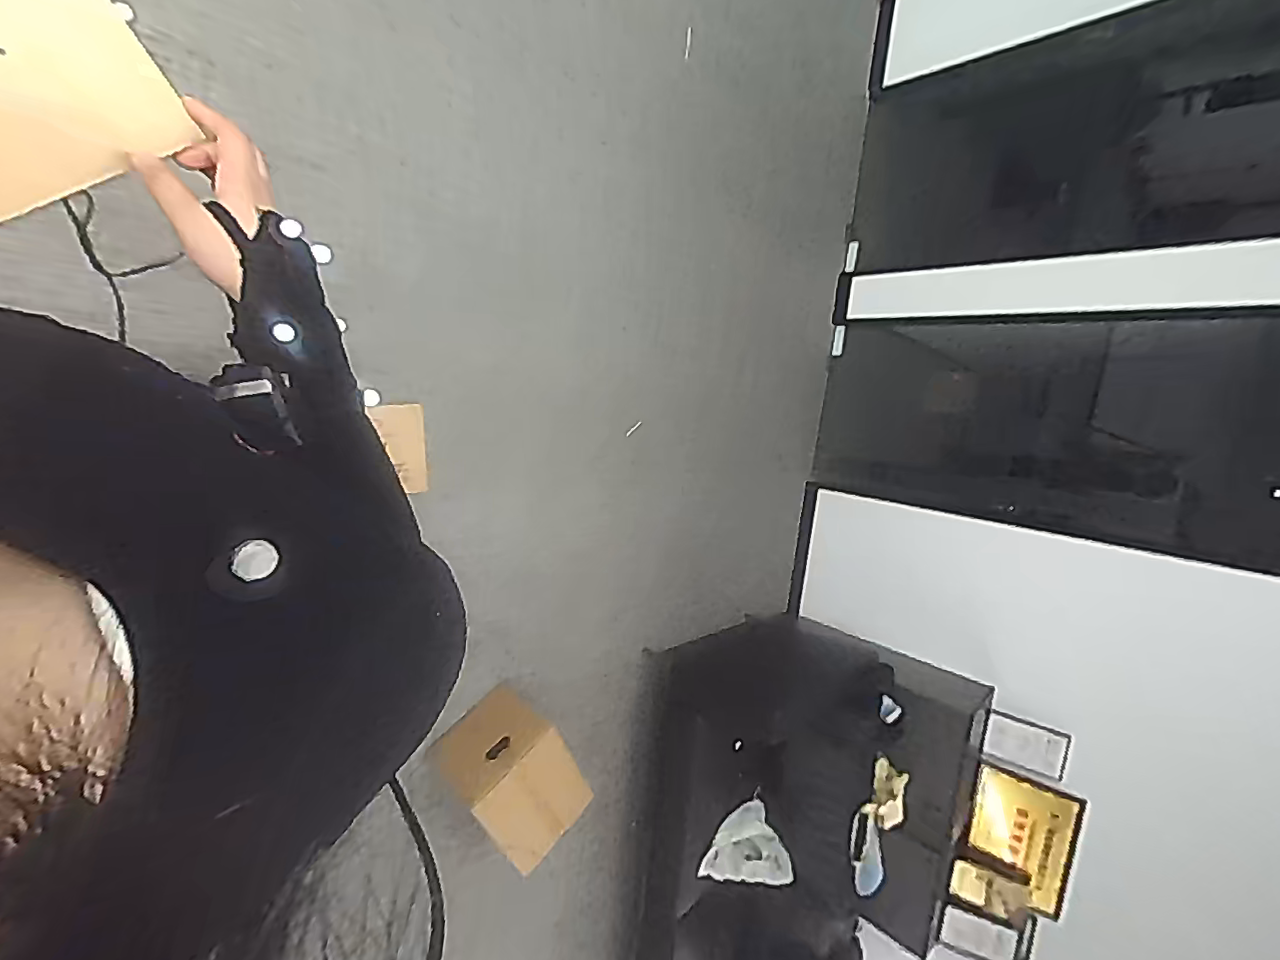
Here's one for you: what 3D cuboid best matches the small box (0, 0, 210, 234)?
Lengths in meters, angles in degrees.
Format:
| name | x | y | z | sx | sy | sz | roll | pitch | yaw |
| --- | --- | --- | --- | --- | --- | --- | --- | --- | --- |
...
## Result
| name | x | y | z | sx | sy | sz | roll | pitch | yaw |
| --- | --- | --- | --- | --- | --- | --- | --- | --- | --- |
| small box | -0.451 | -0.285 | 0.365 | 0.179 | 0.176 | 0.168 | -39 | 139 | -19 |

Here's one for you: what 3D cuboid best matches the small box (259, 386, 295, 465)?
| name | x | y | z | sx | sy | sz | roll | pitch | yaw |
| --- | --- | --- | --- | --- | --- | --- | --- | --- | --- |
| small box | -0.781 | -0.129 | 1.271 | 0.179 | 0.176 | 0.168 | -4 | 104 | -45 |

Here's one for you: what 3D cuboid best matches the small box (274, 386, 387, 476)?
| name | x | y | z | sx | sy | sz | roll | pitch | yaw |
| --- | --- | --- | --- | --- | --- | --- | --- | --- | --- |
| small box | -0.665 | -0.109 | 1.157 | 0.179 | 0.176 | 0.168 | -8 | 108 | -46 |
